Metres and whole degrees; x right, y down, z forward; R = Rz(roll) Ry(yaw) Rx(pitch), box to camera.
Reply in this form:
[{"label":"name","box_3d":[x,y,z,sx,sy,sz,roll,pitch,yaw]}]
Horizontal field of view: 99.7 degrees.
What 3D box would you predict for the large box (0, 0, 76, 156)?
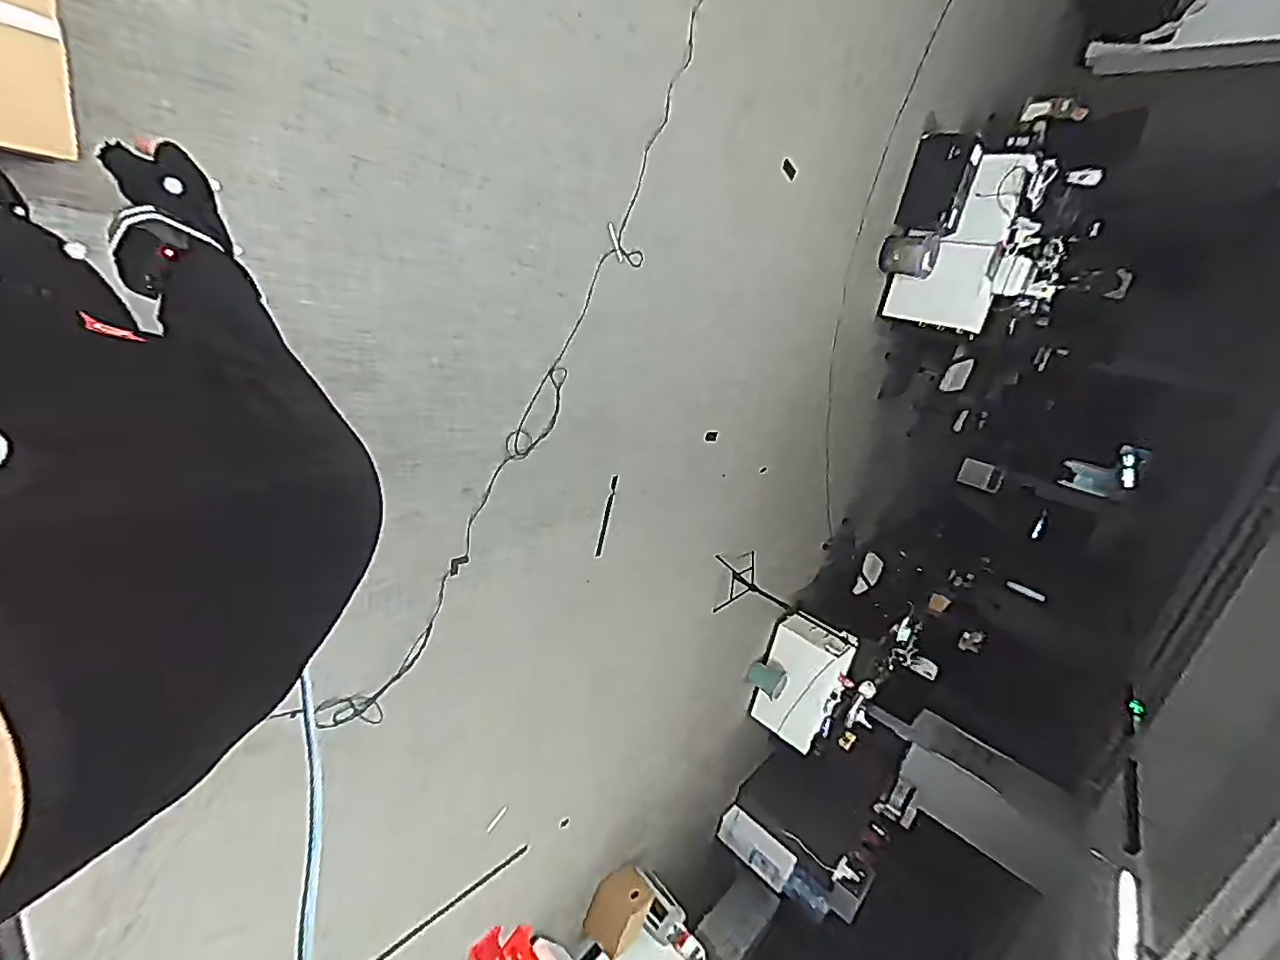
[{"label":"large box","box_3d":[-1.020,-0.625,0.662,0.408,0.320,0.320,-12,120,-49]}]
